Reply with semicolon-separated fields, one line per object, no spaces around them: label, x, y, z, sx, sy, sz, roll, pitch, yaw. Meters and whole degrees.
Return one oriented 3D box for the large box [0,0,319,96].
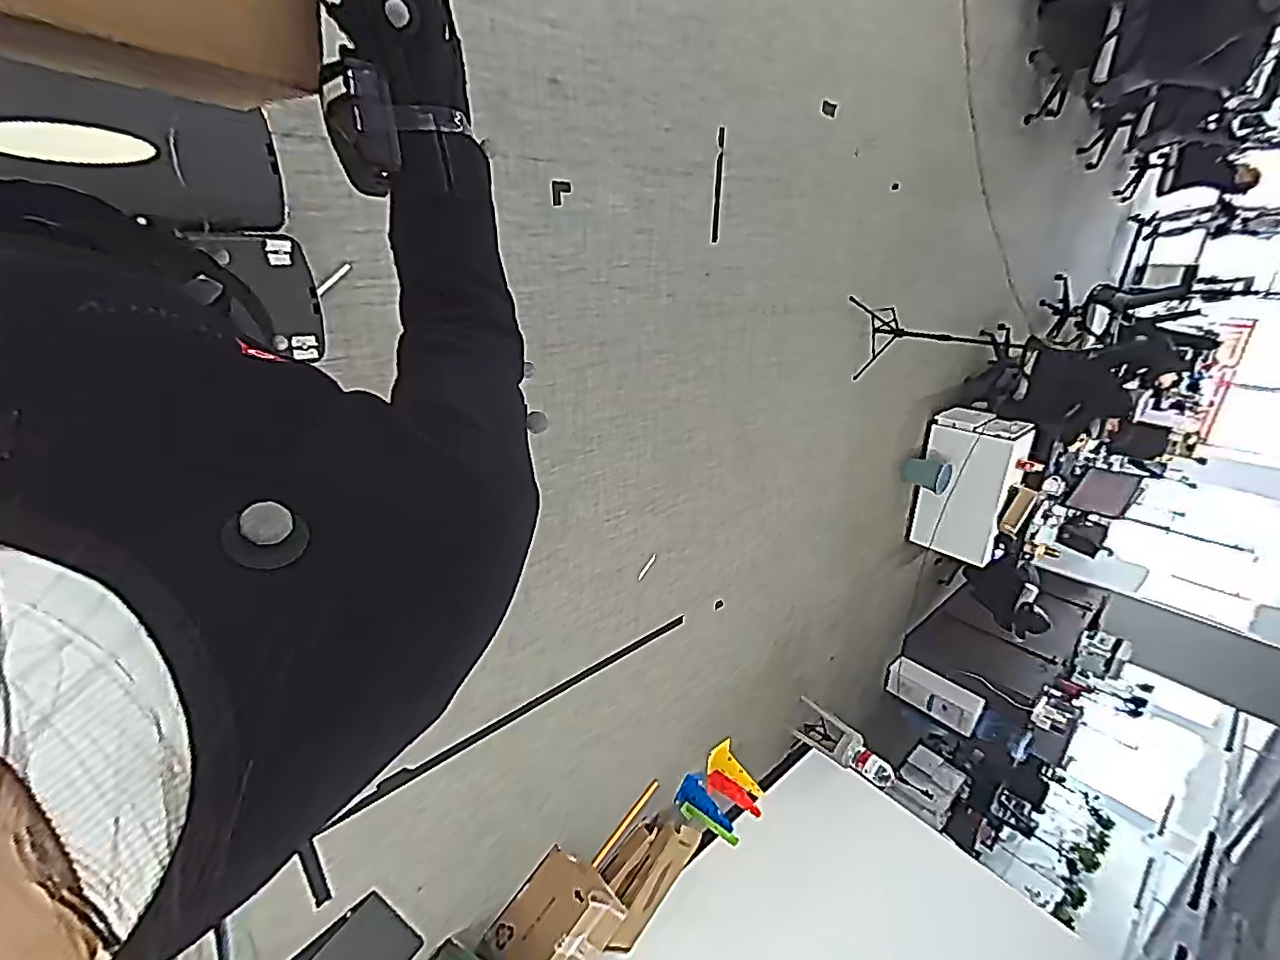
large box;-0.434;-0.423;0.261;0.408;0.320;0.320;-13;124;-40

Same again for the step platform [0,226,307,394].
step platform;-1.069;-0.348;1.081;0.684;0.204;0.286;-18;118;-34
